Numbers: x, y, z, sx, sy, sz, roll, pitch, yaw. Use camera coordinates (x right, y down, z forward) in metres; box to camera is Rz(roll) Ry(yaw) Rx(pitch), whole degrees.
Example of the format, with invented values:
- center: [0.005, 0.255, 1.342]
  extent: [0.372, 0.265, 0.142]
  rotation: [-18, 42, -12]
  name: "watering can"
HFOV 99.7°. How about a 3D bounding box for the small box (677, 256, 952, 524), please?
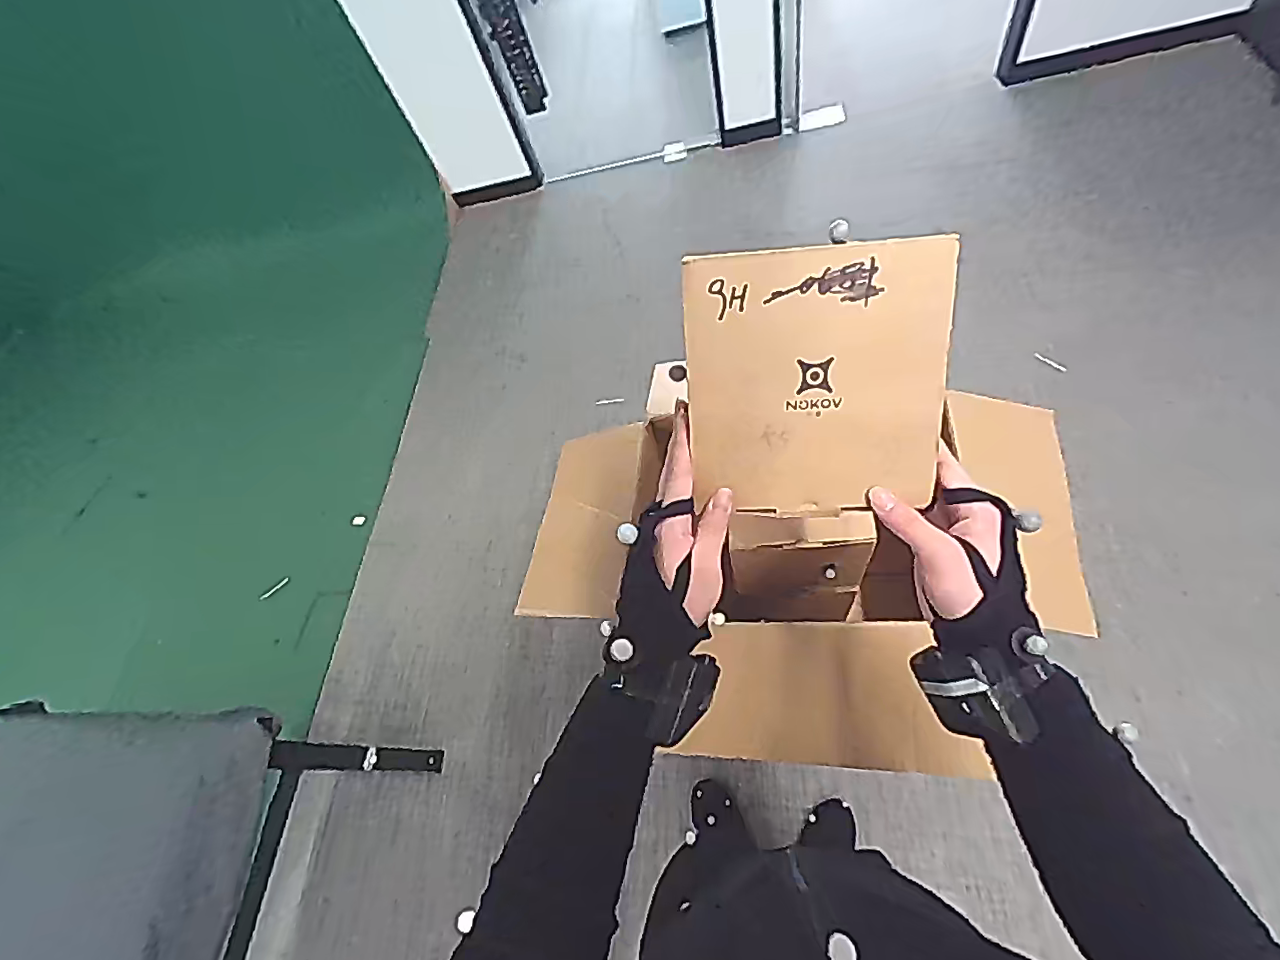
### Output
- center: [0.117, -0.078, 0.433]
  extent: [0.168, 0.179, 0.176]
  rotation: [-2, 19, 6]
  name: "small box"
